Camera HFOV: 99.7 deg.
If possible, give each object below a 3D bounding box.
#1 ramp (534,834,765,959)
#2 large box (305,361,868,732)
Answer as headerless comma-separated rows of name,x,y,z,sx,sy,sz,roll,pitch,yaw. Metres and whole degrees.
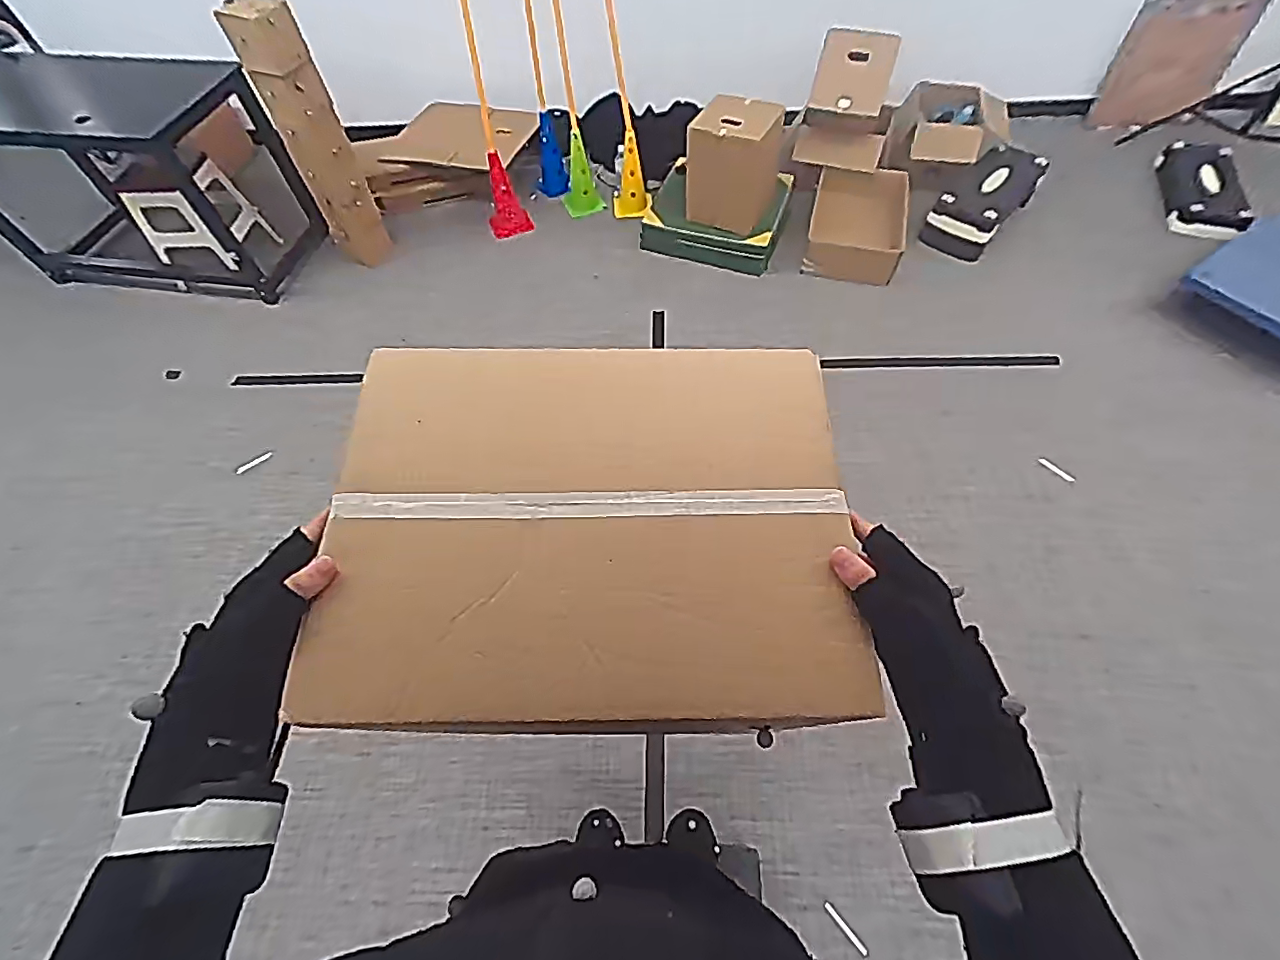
ramp,0.019,1.264,1.036,0.509,0.206,0.991,-1,59,0
large box,-0.039,0.093,0.575,0.408,0.320,0.320,0,63,-1
